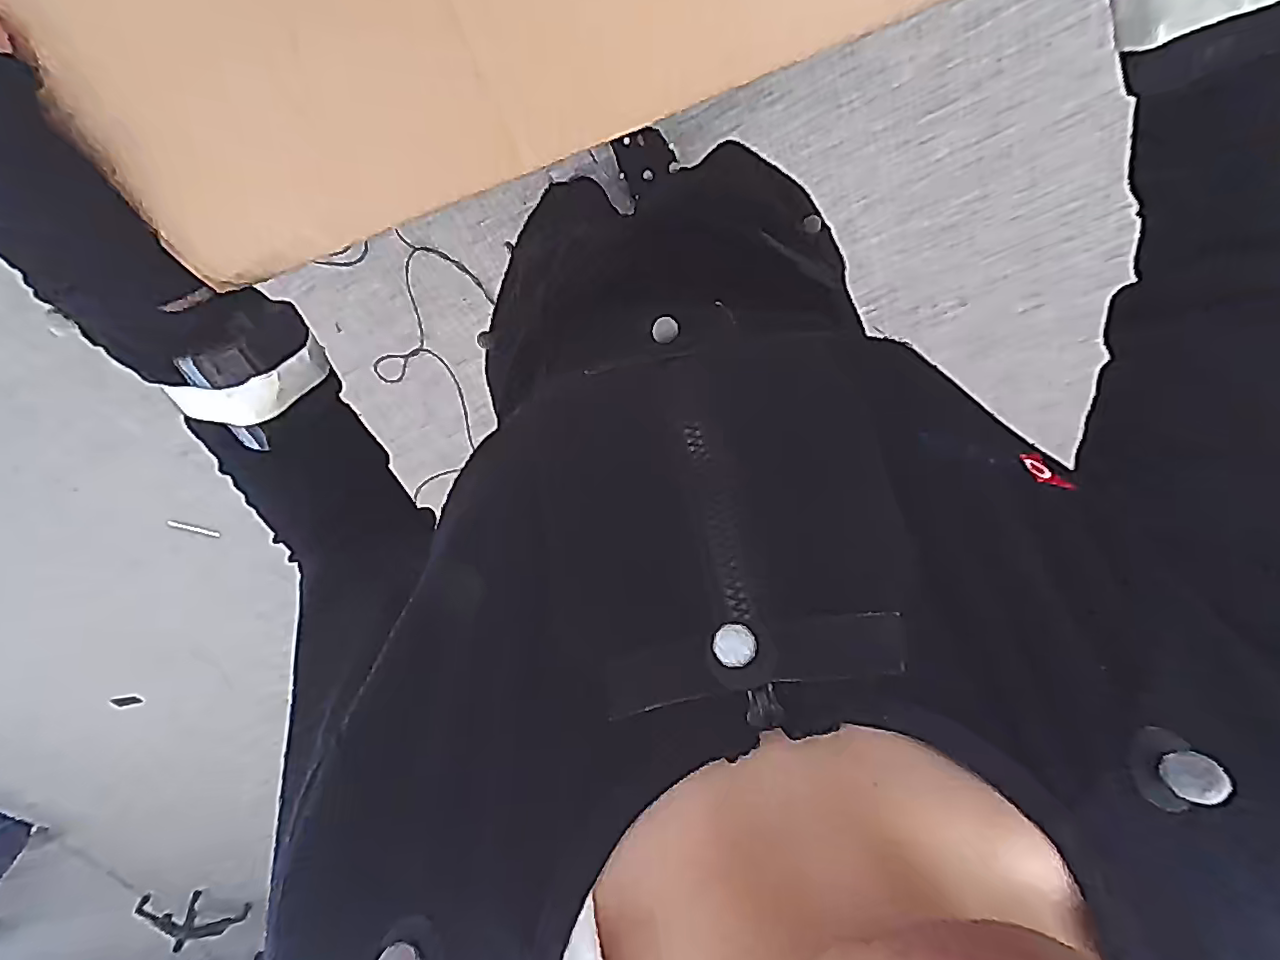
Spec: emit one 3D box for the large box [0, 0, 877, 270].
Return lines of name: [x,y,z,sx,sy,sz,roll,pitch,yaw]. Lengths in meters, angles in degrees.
large box: [-0.081,-0.360,0.208,0.408,0.320,0.320,-16,141,10]
